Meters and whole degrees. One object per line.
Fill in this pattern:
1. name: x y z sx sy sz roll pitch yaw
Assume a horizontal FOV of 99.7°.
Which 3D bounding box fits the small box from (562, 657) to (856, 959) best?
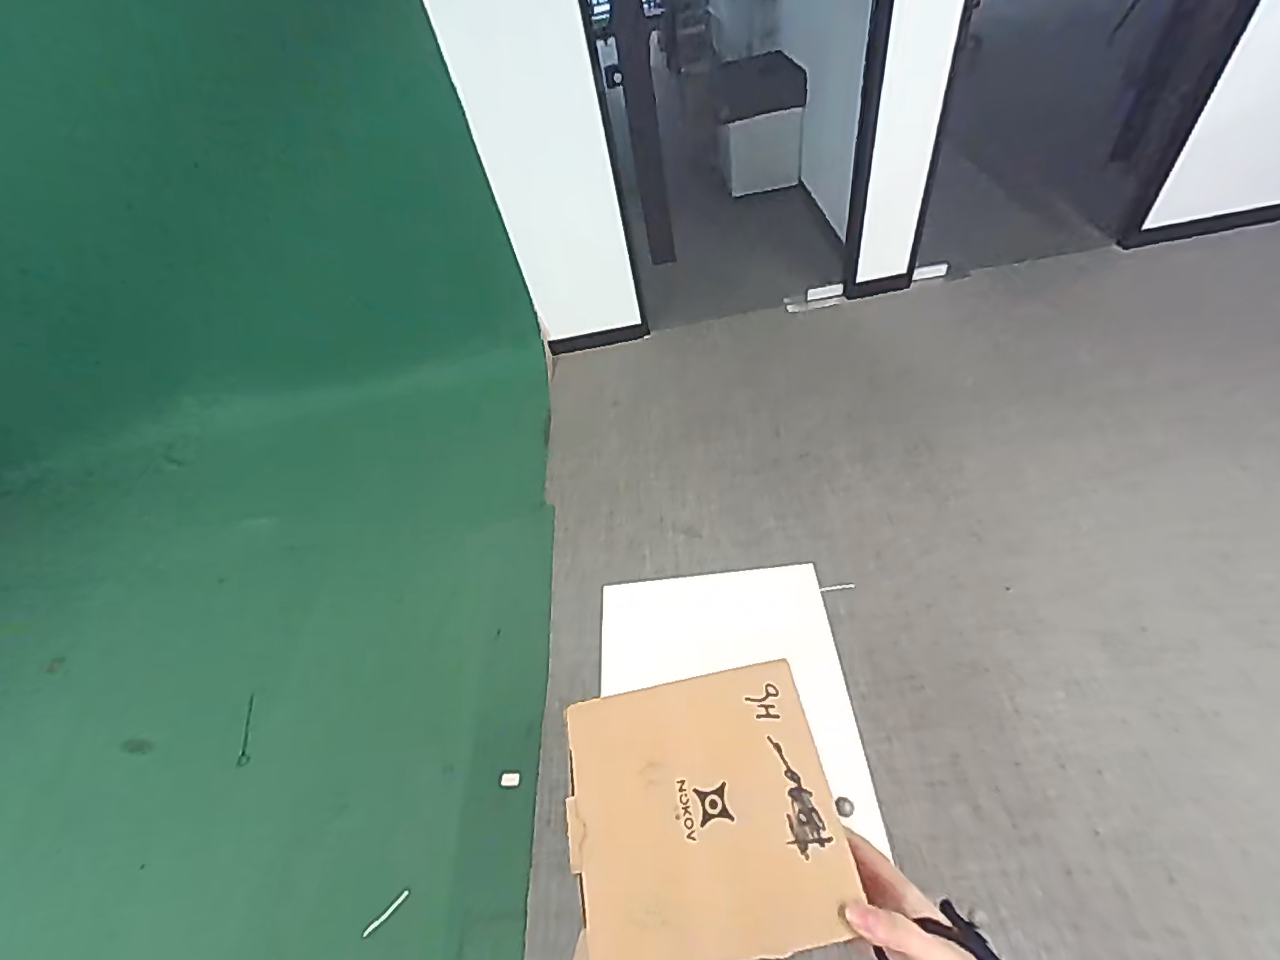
1. small box: 0.047 0.262 0.435 0.179 0.176 0.168 -12 55 2
